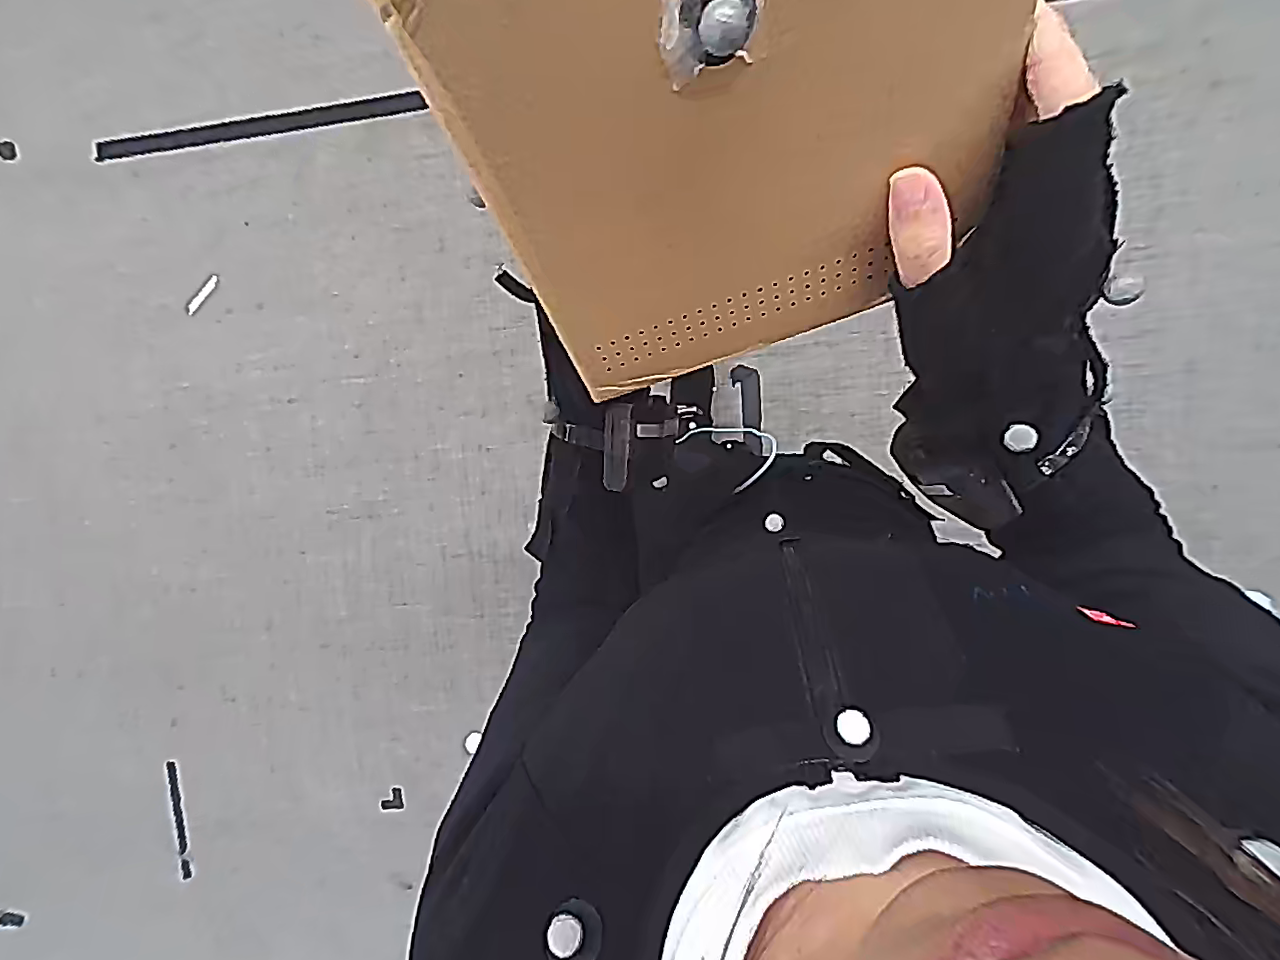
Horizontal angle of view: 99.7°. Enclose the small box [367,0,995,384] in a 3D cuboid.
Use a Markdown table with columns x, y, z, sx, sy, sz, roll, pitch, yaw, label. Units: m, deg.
| x | y | z | sx | sy | sz | roll | pitch | yaw | label |
| --- | --- | --- | --- | --- | --- | --- | --- | --- | --- |
| 0.025 | -0.168 | 0.231 | 0.179 | 0.176 | 0.168 | -16 | 54 | 10 | small box |
